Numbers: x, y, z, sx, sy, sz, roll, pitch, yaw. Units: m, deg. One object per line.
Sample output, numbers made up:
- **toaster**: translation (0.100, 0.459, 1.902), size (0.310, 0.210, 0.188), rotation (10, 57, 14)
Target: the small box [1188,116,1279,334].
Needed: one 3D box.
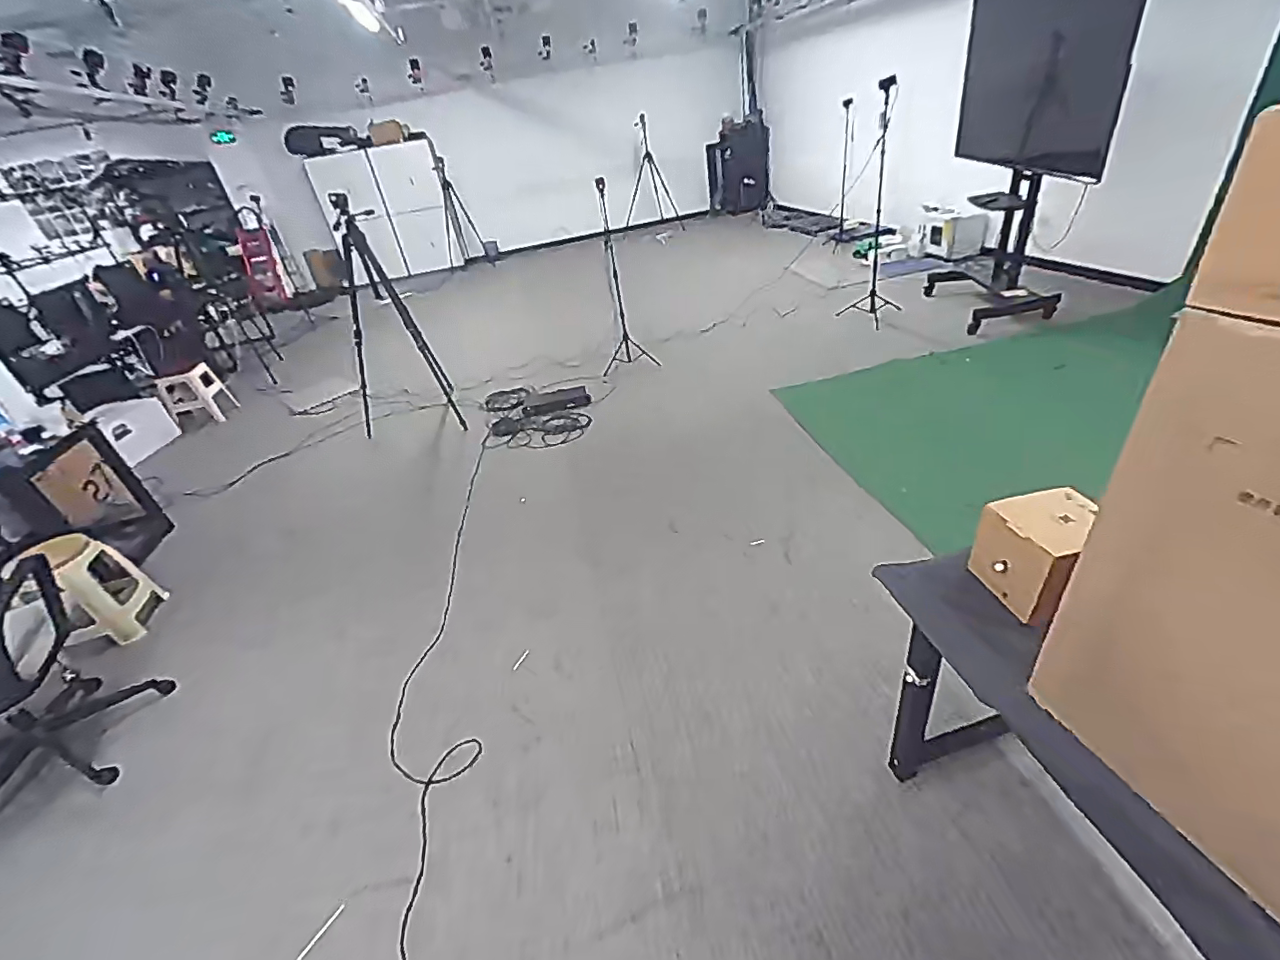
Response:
- **small box**: translation (0.629, -0.220, 0.456), size (0.179, 0.176, 0.168), rotation (-16, 33, -9)
